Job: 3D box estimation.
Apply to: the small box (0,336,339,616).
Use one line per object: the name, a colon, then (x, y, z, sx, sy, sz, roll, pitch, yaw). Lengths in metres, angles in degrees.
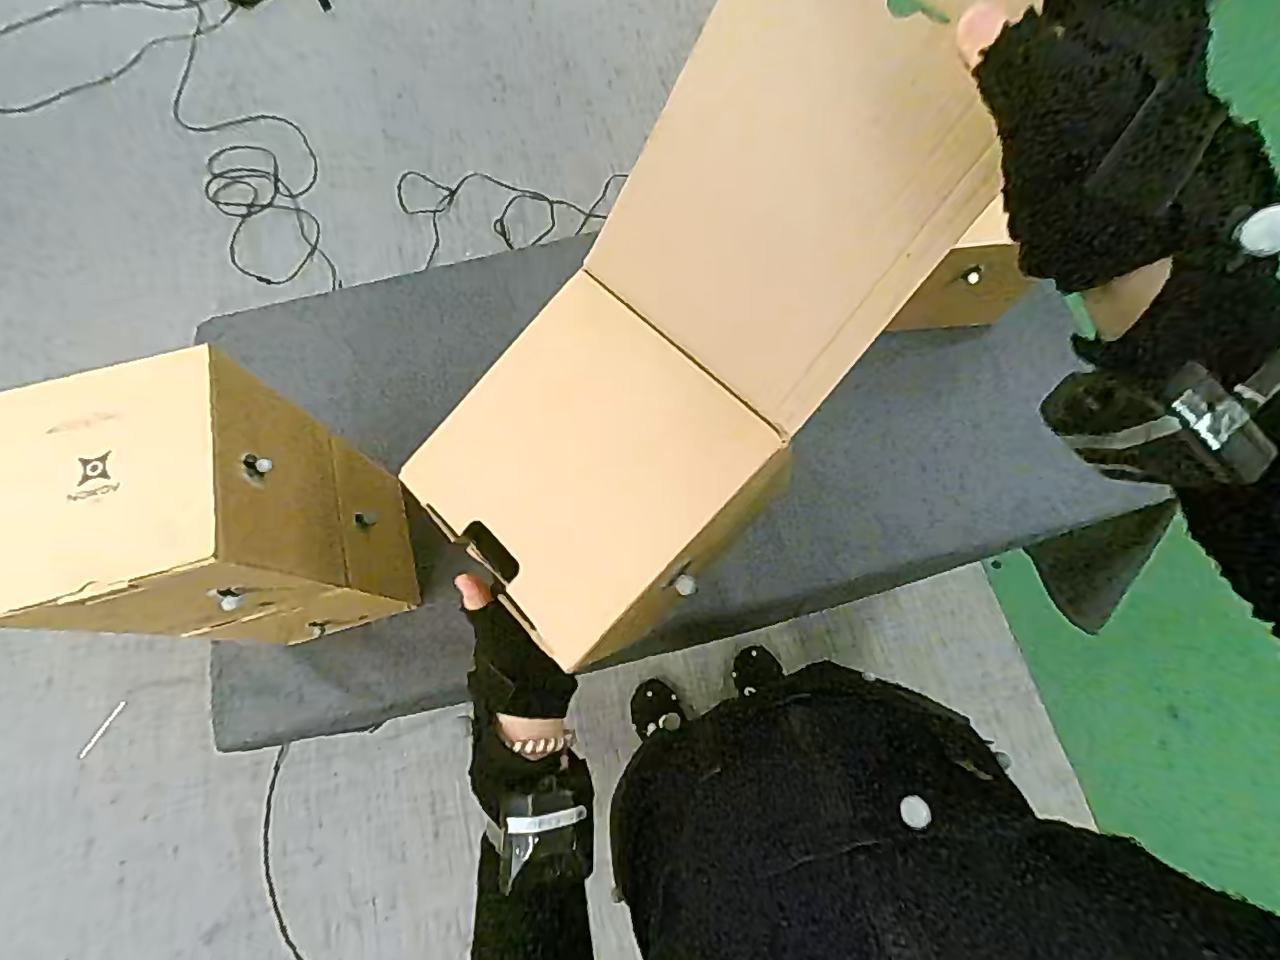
small box: (-0.381, 0.012, 0.458, 0.168, 0.176, 0.179, -14, 73, -4)

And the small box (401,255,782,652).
small box: (-0.017, -0.008, 0.384, 0.179, 0.176, 0.168, -45, 74, 3)

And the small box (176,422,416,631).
small box: (-0.376, 0.062, 0.613, 0.168, 0.176, 0.179, -16, 73, -4)

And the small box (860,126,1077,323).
small box: (0.402, -0.320, 0.704, 0.179, 0.176, 0.168, -2, 73, 1)
